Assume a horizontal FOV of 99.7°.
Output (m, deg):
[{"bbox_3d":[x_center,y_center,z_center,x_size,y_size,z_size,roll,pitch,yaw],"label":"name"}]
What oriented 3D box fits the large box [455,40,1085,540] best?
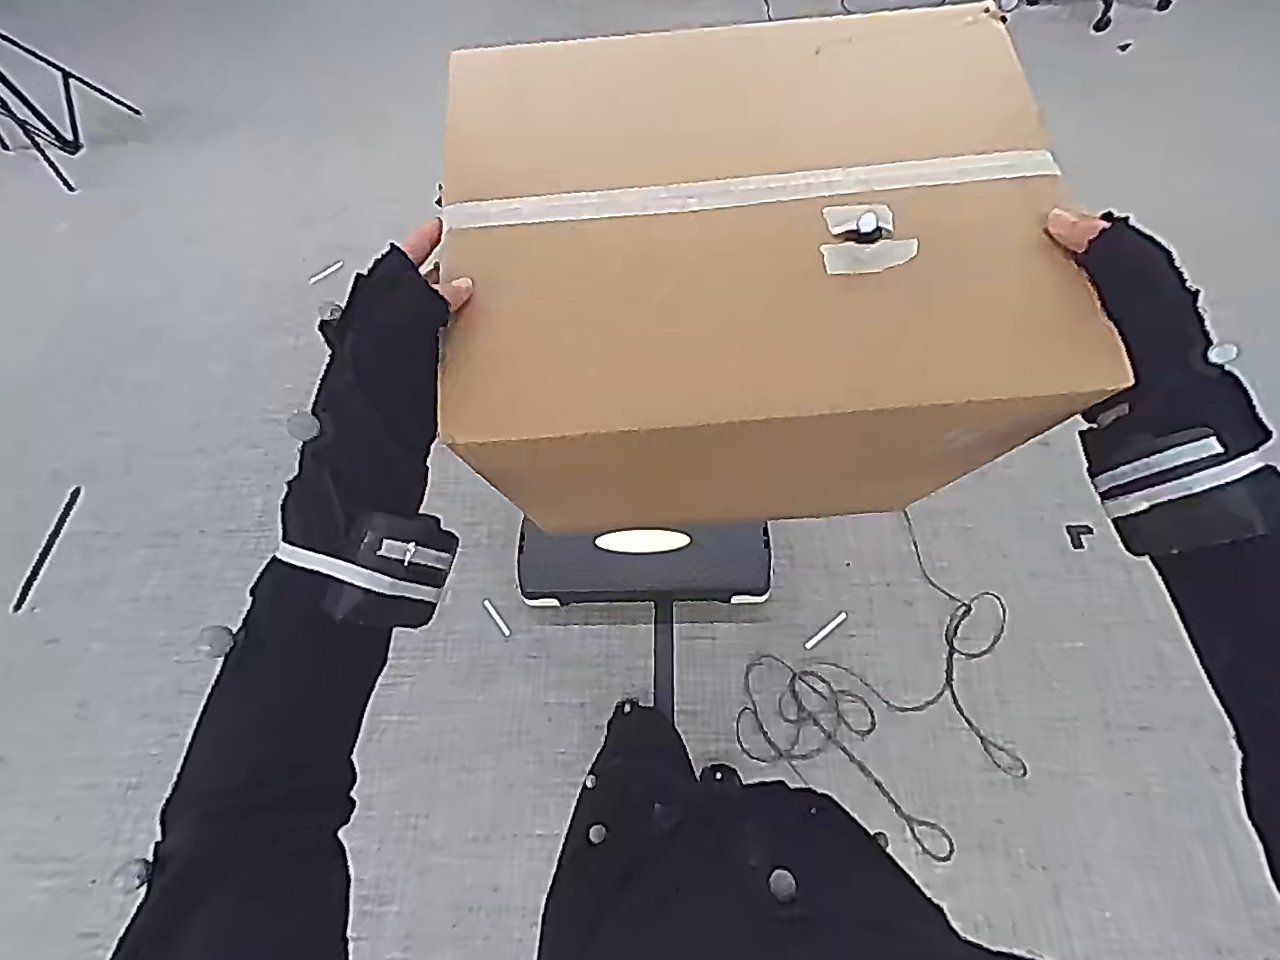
[{"bbox_3d":[0.071,-0.138,0.522,0.408,0.320,0.320,-5,73,0],"label":"large box"}]
